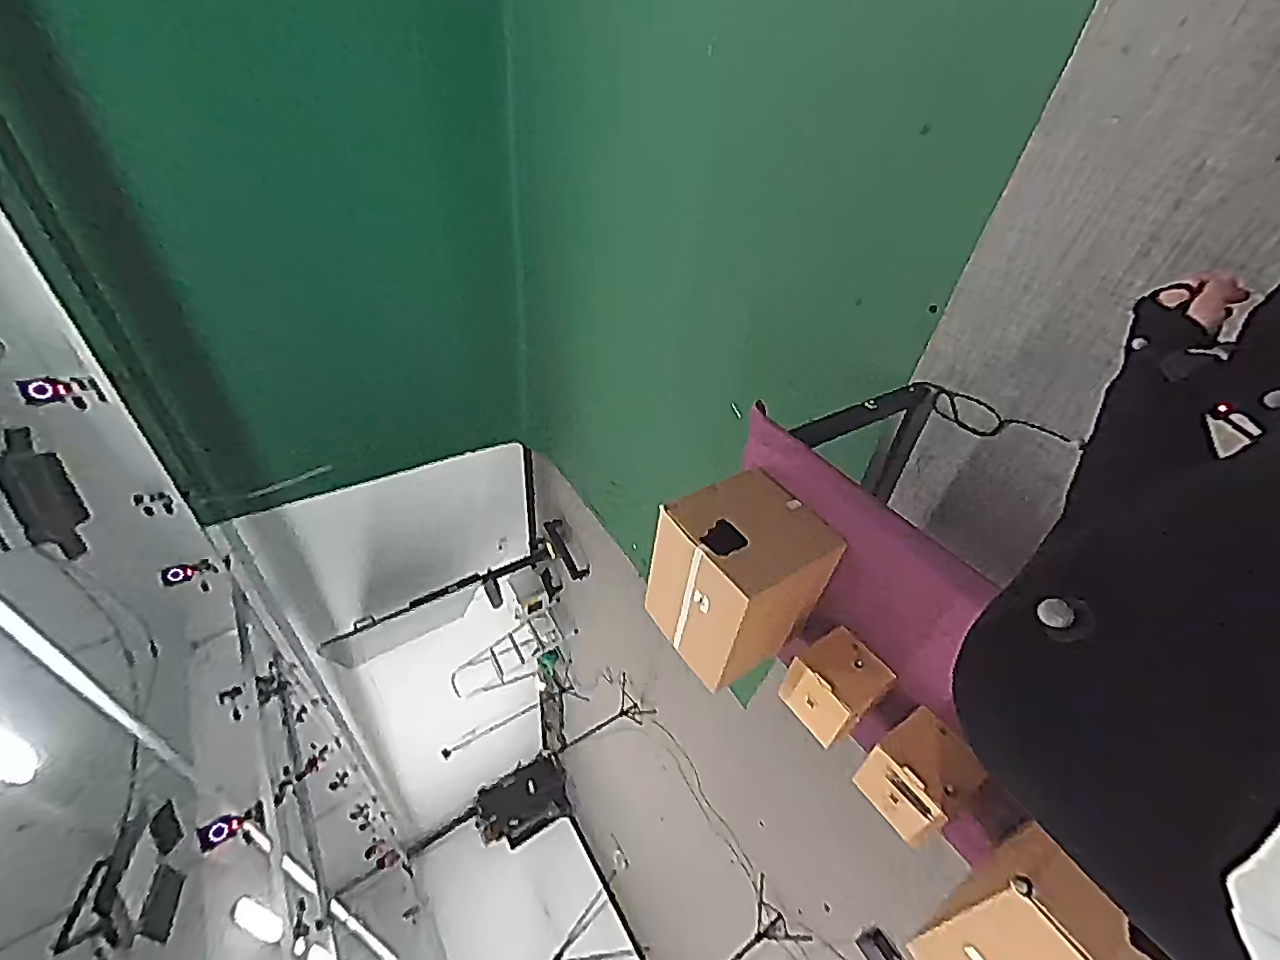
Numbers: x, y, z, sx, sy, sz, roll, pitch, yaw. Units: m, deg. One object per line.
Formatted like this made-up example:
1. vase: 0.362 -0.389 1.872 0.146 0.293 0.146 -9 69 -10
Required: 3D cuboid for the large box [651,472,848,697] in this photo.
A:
1. large box: 0.253 0.255 1.363 0.320 0.320 0.408 45 143 36
